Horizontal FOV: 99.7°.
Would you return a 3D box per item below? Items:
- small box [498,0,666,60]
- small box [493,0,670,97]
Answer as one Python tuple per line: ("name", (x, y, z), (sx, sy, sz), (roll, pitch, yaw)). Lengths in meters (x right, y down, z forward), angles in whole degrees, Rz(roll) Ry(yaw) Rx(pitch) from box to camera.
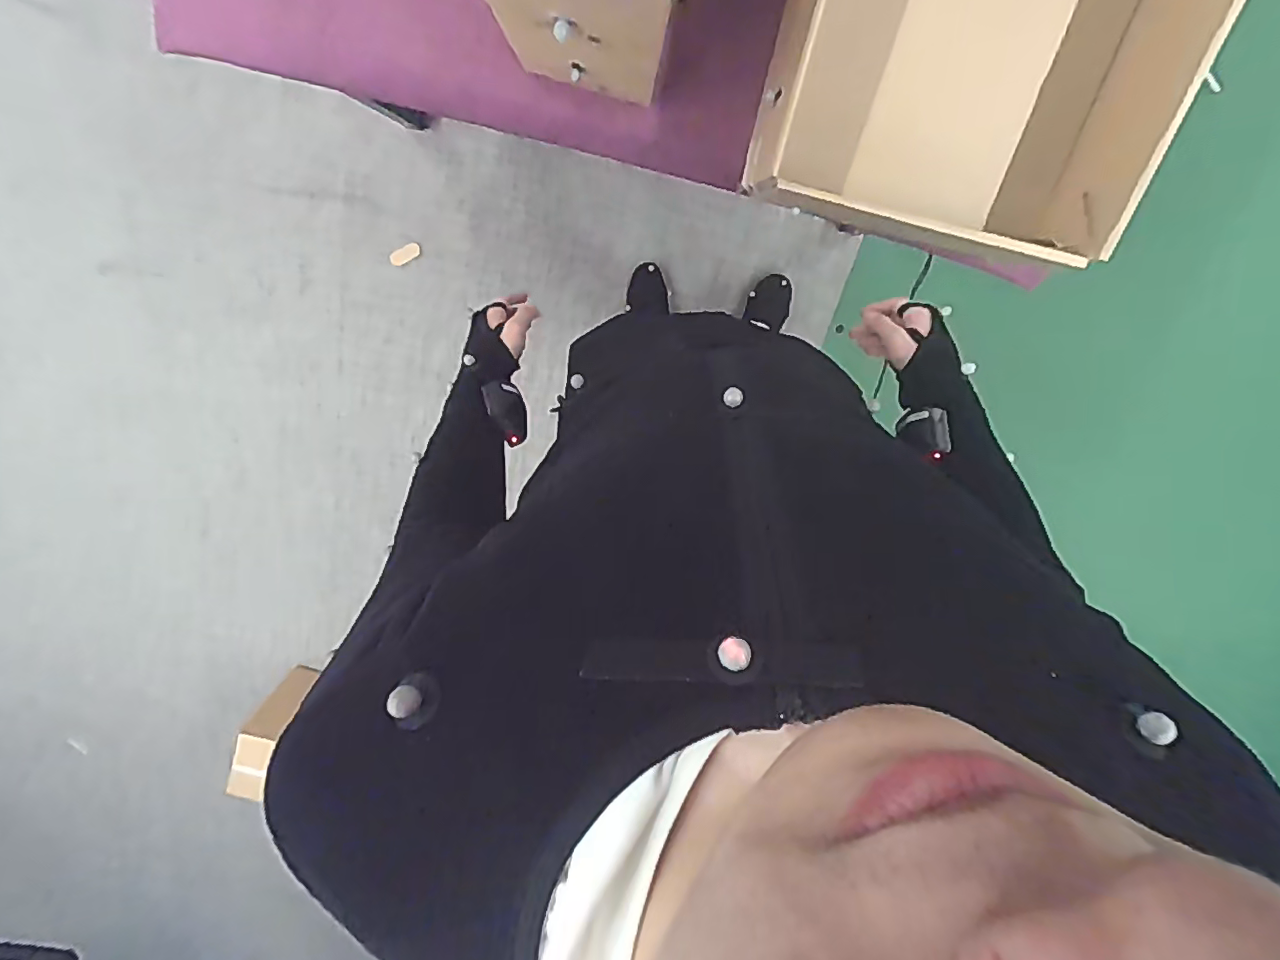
("small box", (-0.044, -0.489, 0.436), (0.168, 0.176, 0.179), (13, 112, -6))
("small box", (-0.048, -0.552, 0.587), (0.168, 0.176, 0.179), (12, 112, -7))
